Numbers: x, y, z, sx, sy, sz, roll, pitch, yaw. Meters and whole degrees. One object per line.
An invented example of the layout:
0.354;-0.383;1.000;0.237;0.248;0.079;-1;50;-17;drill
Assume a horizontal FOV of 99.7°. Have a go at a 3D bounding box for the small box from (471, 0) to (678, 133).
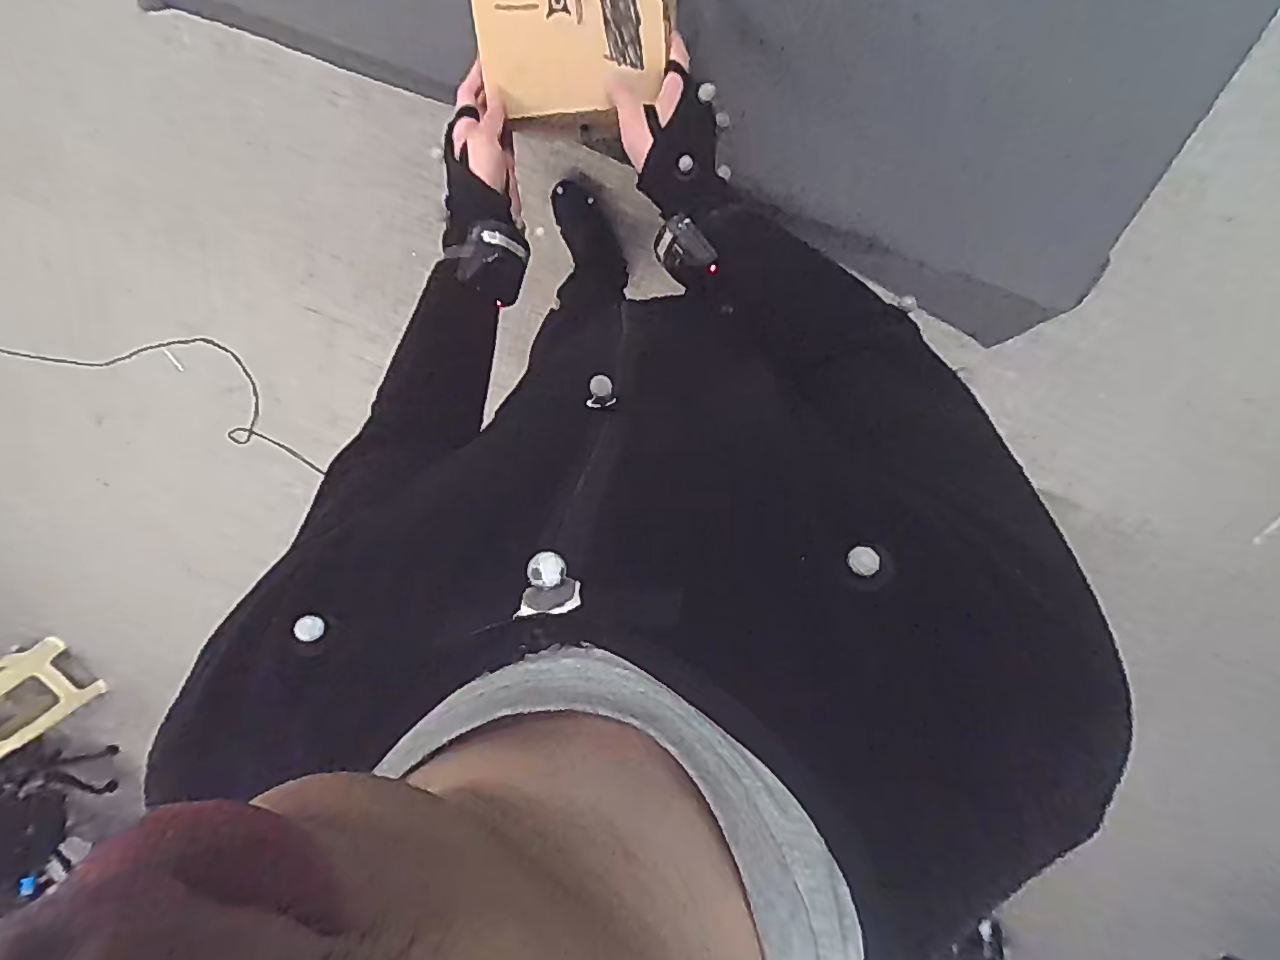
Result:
-0.052;-0.449;0.525;0.179;0.176;0.168;0;115;6;small box
